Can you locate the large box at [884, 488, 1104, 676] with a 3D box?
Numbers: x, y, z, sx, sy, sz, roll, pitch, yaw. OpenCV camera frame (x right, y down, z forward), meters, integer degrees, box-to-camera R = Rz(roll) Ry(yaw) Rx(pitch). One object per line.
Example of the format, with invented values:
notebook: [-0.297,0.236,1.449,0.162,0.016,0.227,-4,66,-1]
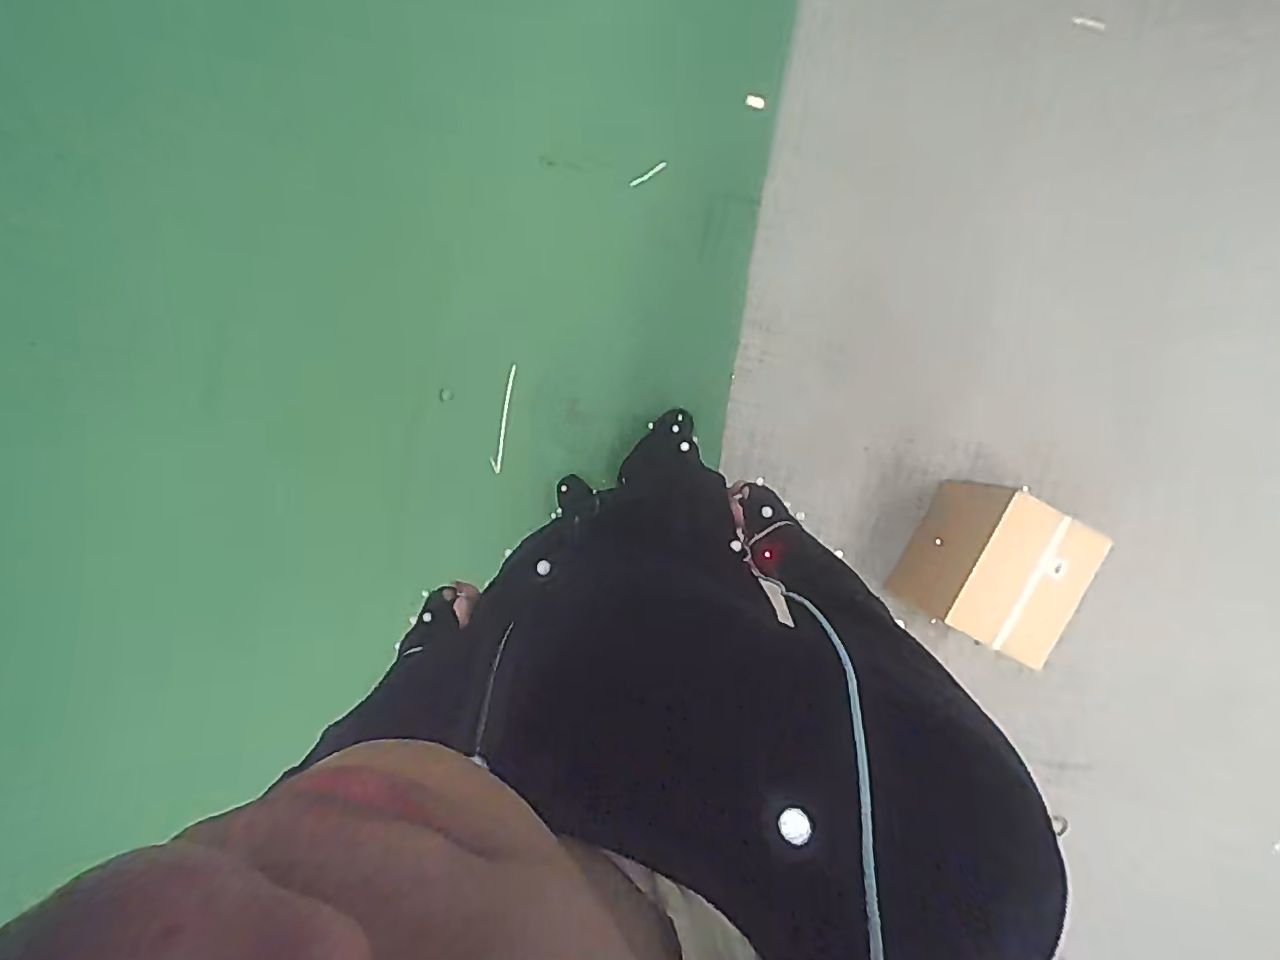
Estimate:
large box: [0.994,0.273,1.565,0.320,0.320,0.408,28,90,-5]
